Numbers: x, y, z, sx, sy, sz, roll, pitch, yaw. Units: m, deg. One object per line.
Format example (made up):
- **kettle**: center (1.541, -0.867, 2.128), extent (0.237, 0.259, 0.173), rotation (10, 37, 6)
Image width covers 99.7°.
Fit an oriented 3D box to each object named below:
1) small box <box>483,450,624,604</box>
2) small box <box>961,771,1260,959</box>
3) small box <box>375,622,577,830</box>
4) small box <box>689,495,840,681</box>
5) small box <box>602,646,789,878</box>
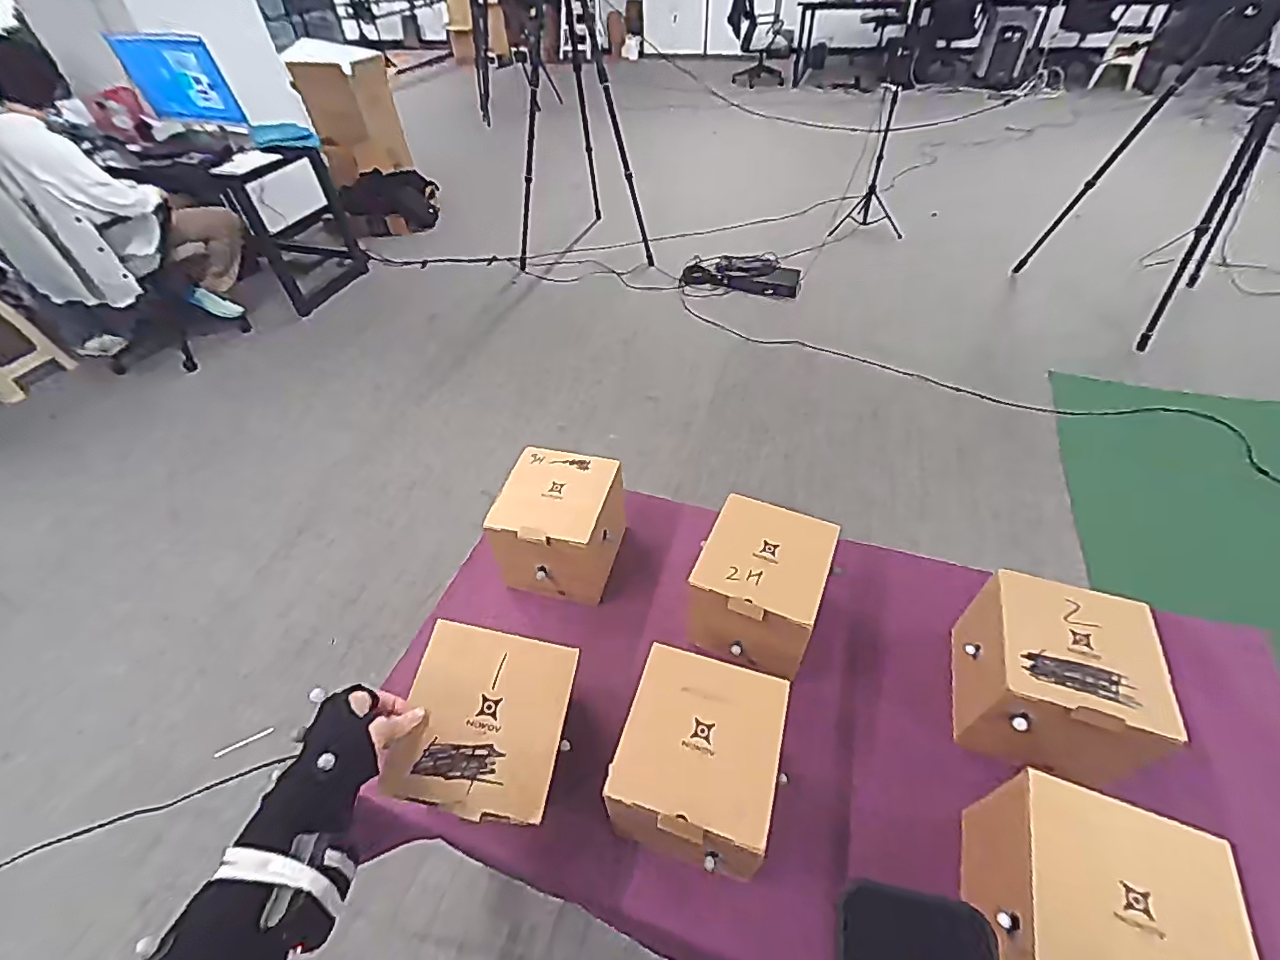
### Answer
- **small box**: center (-0.127, 0.079, 0.887), extent (0.168, 0.176, 0.179), rotation (9, 49, 12)
- **small box**: center (0.429, 0.423, 0.519), extent (0.168, 0.176, 0.179), rotation (16, 50, 18)
- **small box**: center (-0.178, 0.286, 0.637), extent (0.168, 0.176, 0.179), rotation (14, 62, -5)
- **small box**: center (0.175, 0.157, 0.791), extent (0.168, 0.176, 0.179), rotation (17, 50, 20)
- **small box**: center (0.069, 0.331, 0.634), extent (0.168, 0.176, 0.179), rotation (12, 48, 15)
